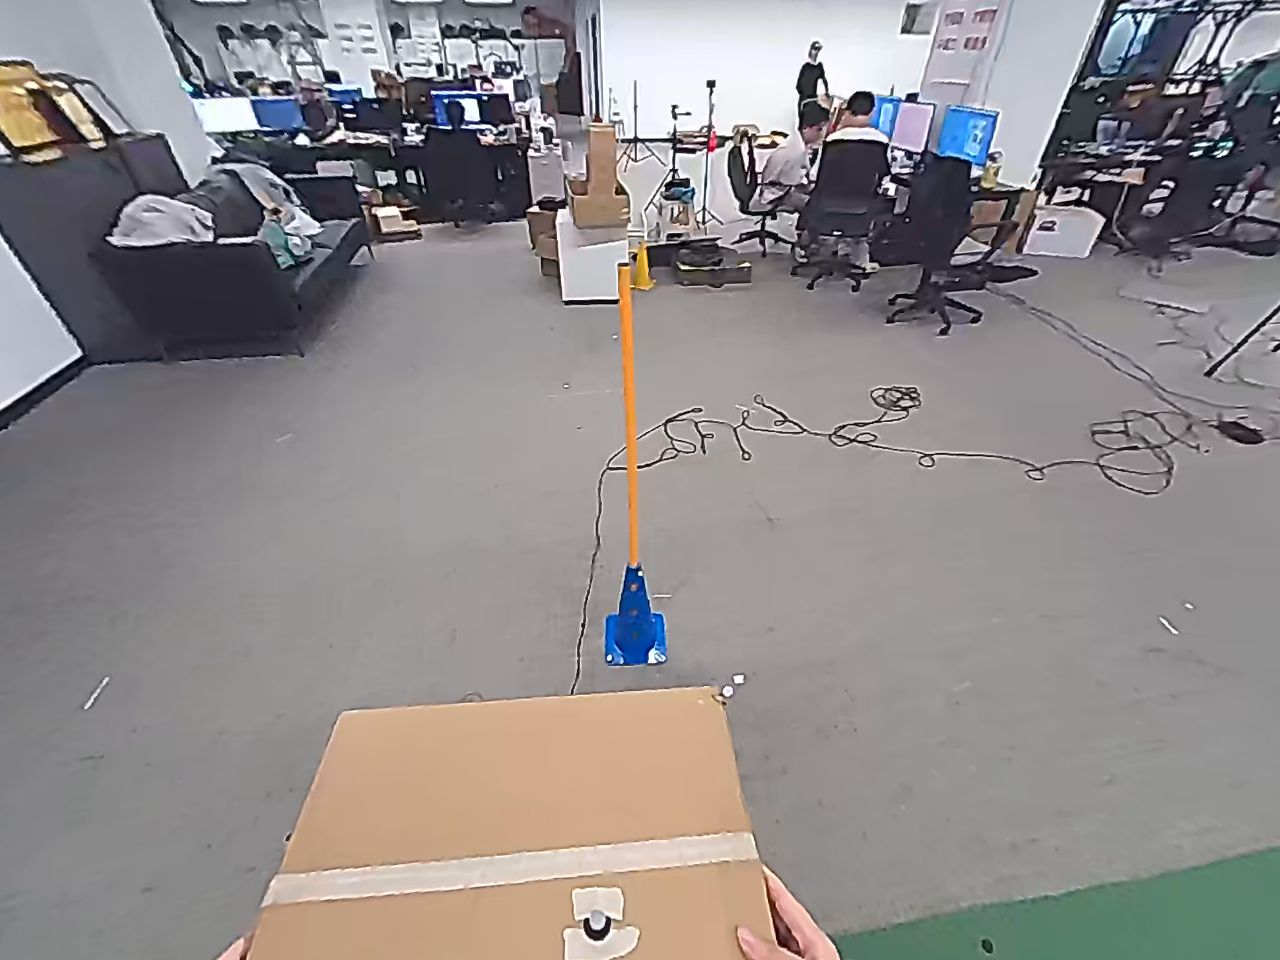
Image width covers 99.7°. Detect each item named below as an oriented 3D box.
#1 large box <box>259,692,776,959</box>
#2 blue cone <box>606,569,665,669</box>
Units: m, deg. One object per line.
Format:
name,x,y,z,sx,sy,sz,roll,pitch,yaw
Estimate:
large box,-0.103,0.455,0.553,0.408,0.320,0.320,-2,38,-5
blue cone,-0.016,0.411,1.691,0.193,0.380,0.192,0,38,0
